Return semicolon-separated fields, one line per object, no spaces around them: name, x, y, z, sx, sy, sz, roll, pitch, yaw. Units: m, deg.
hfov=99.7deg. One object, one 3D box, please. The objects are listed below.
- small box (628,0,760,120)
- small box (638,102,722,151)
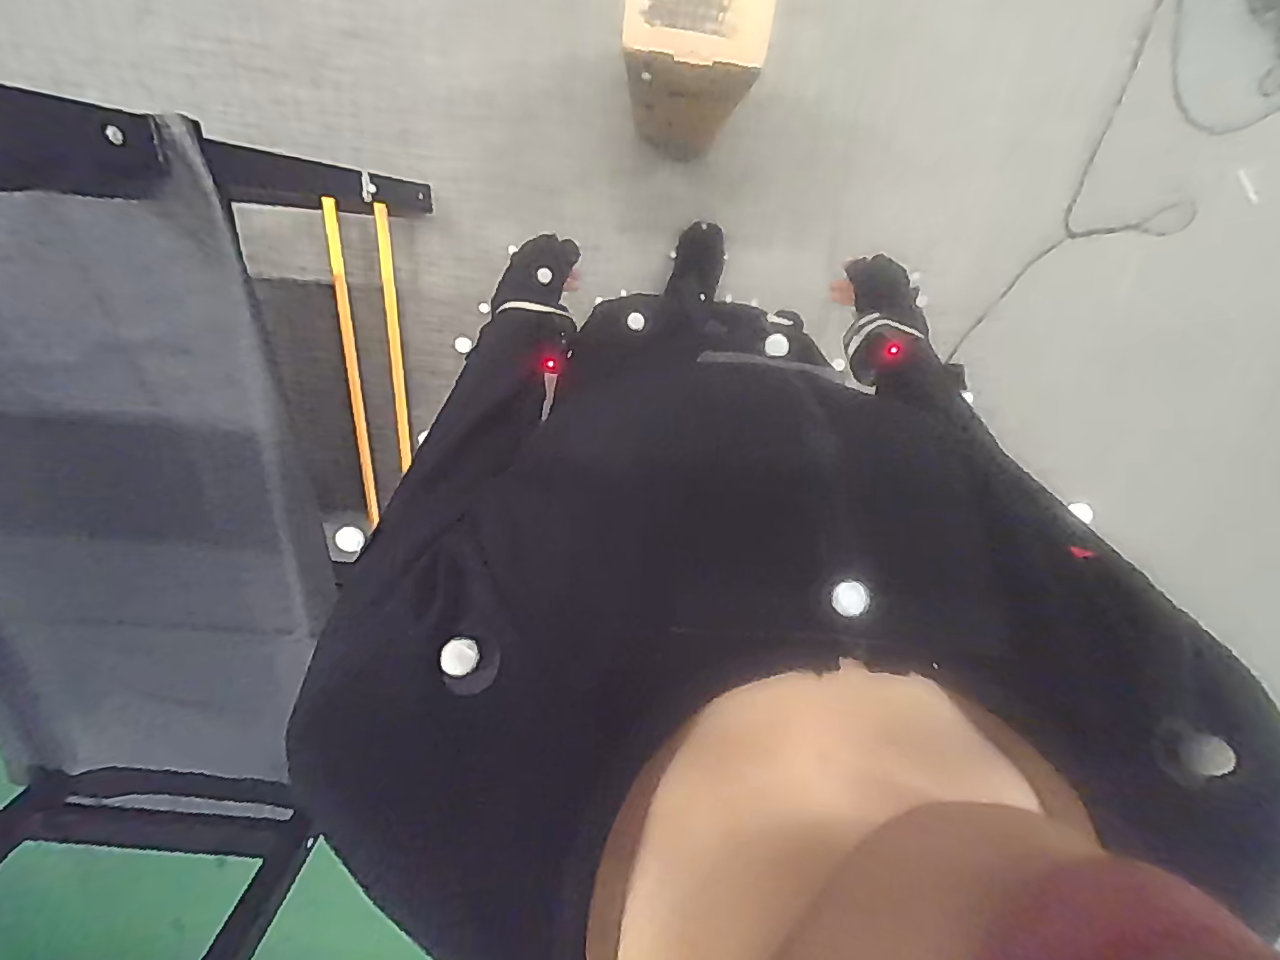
small box;0.079;-0.660;0.805;0.168;0.176;0.179;9;114;-2
small box;0.093;-0.796;1.102;0.168;0.176;0.179;11;116;-3
